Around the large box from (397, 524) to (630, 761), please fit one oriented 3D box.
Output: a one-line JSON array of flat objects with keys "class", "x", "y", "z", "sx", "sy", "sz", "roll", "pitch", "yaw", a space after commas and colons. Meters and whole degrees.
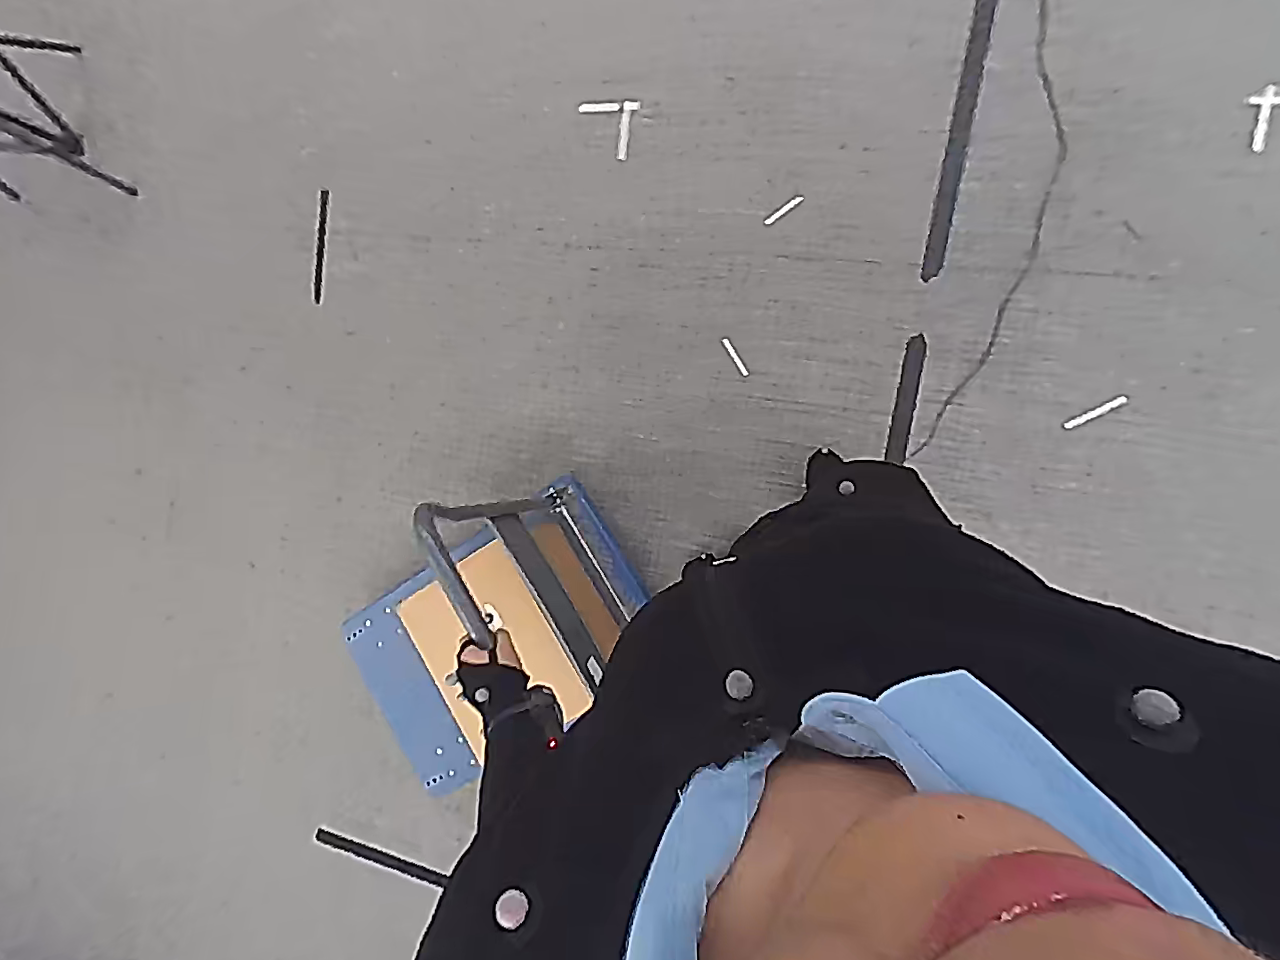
[{"class": "large box", "x": -0.283, "y": 0.364, "z": 1.305, "sx": 0.320, "sy": 0.320, "sz": 0.408, "roll": -33, "pitch": 84, "yaw": 13}]
